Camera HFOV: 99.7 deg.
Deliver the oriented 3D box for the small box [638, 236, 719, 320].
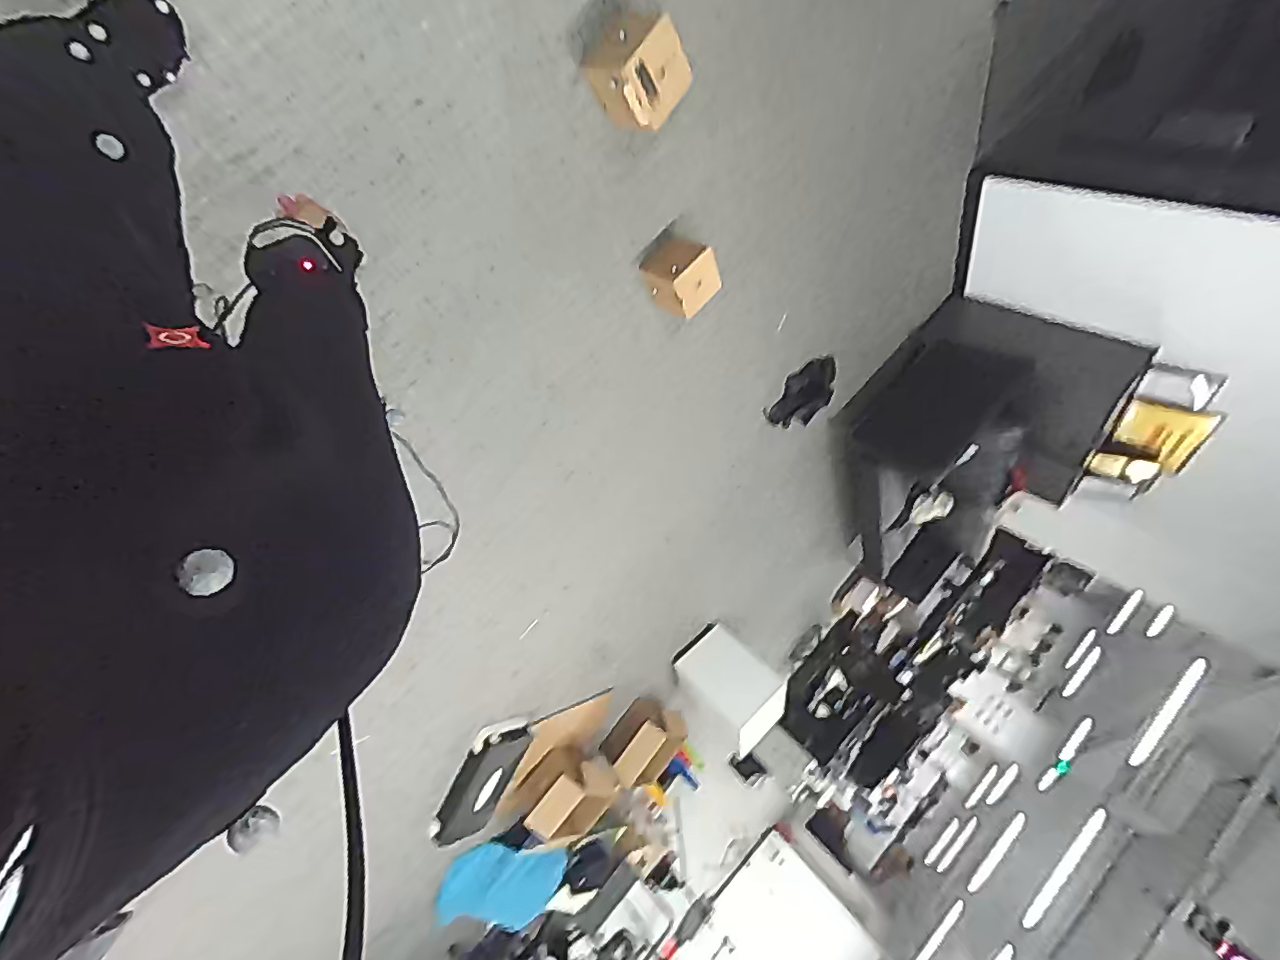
[{"bbox_3d":[0.126,-0.665,1.766,0.179,0.176,0.168,-47,144,-8],"label":"small box"}]
